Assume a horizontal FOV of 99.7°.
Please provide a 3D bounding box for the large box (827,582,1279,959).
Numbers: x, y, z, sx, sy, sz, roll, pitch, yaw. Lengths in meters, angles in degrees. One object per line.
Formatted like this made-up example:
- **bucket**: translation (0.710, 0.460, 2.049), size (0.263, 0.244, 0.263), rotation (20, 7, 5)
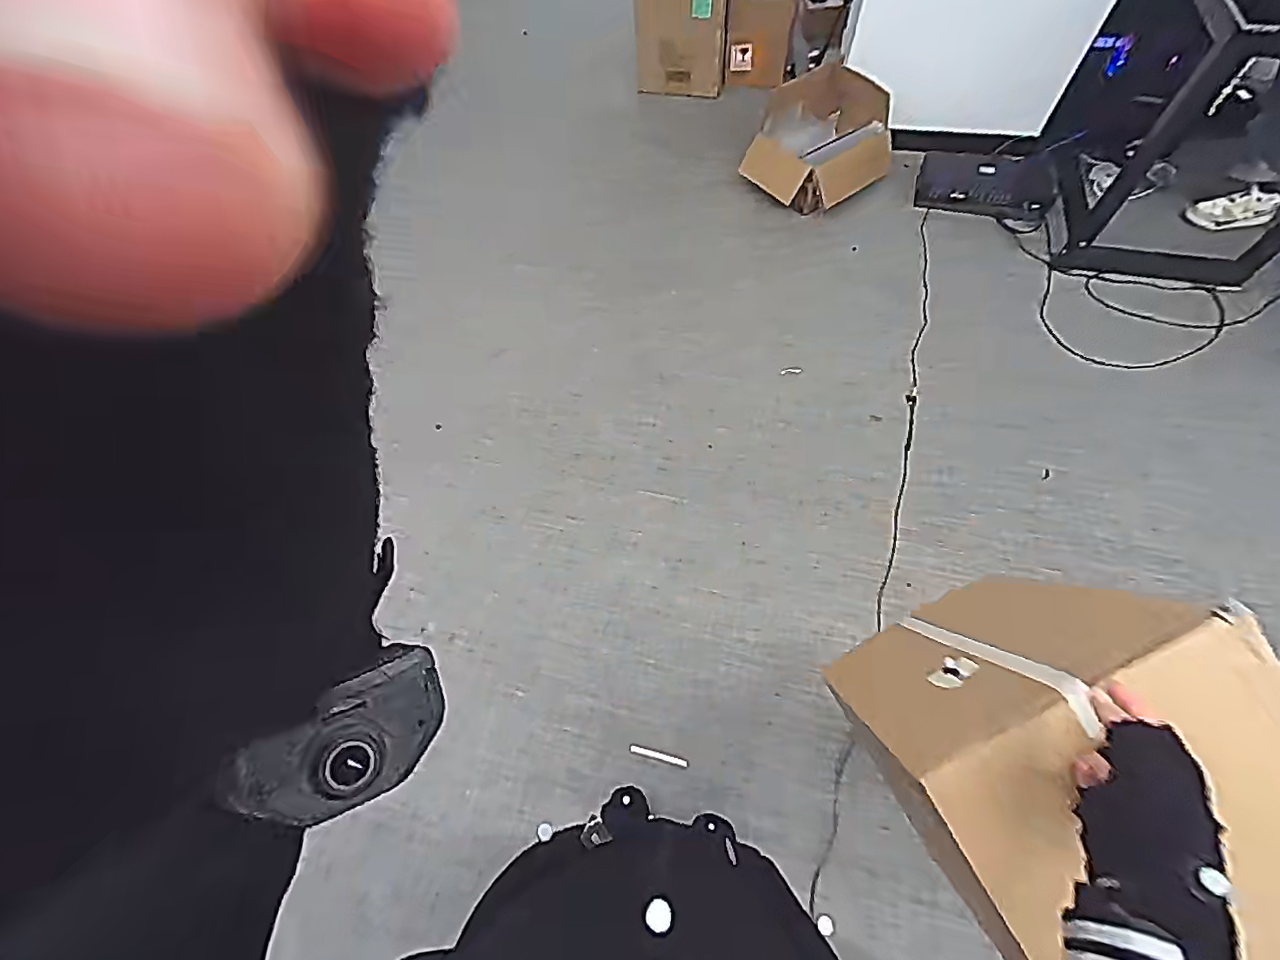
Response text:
- **large box**: translation (0.479, 0.345, 0.643), size (0.320, 0.408, 0.320), rotation (-29, 83, 3)
